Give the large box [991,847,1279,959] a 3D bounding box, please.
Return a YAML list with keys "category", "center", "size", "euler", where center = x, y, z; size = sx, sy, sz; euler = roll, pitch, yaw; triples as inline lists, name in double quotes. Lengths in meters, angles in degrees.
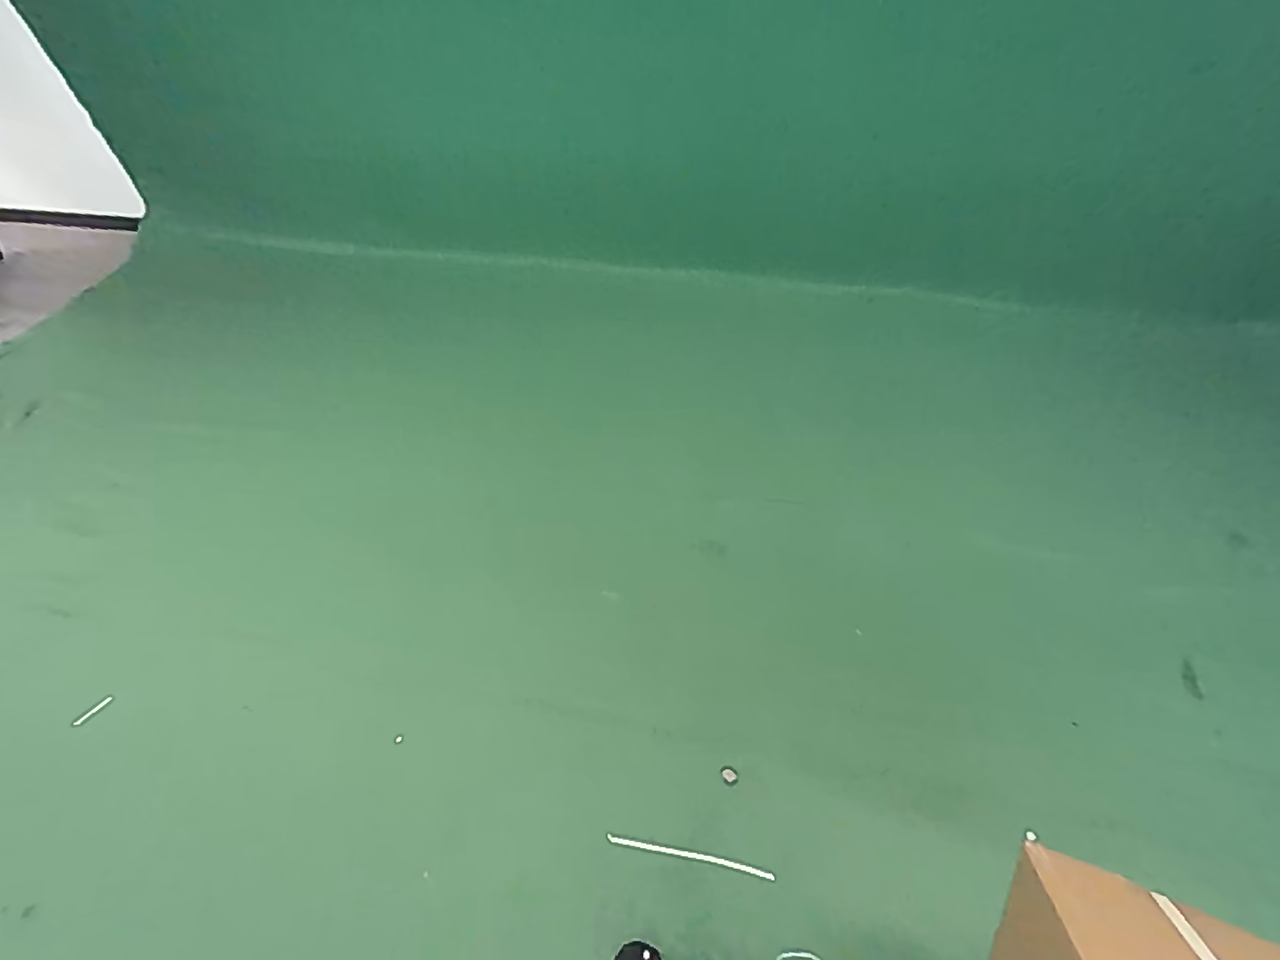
- category: "large box"
  center: [0.590, 0.708, 0.559]
  size: [0.320, 0.408, 0.320]
  euler: [16, 93, 21]
